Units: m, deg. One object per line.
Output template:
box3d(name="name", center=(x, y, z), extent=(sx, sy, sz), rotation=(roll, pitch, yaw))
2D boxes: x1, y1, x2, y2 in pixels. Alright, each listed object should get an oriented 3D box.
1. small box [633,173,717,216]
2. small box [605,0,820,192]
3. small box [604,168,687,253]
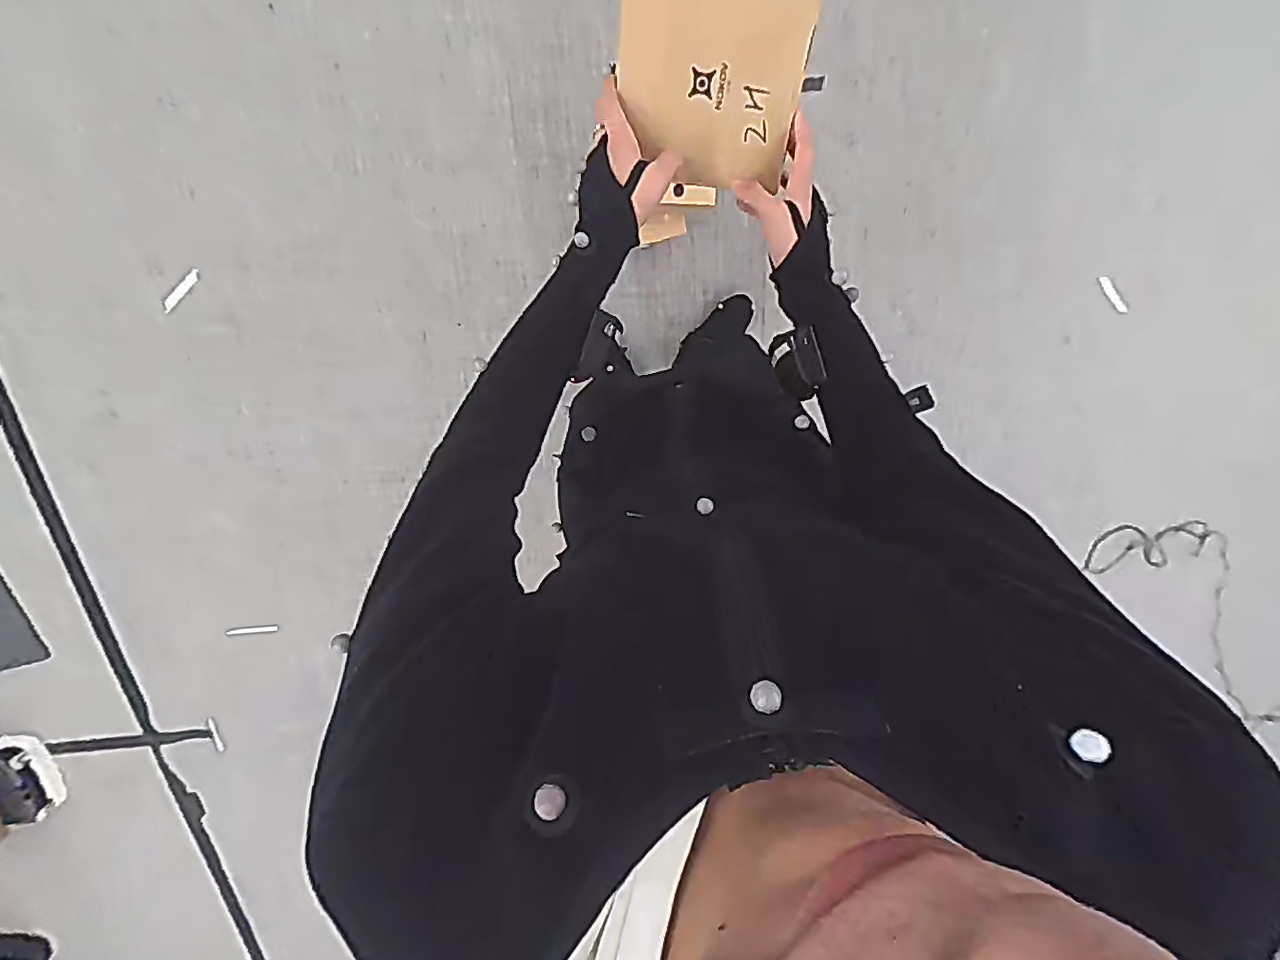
box3d(name="small box", center=(0.073, -0.682, 1.170), extent=(0.168, 0.176, 0.179), rotation=(0, 109, -5))
box3d(name="small box", center=(0.056, -0.406, 0.557), extent=(0.179, 0.176, 0.168), rotation=(3, 124, -7))
box3d(name="small box", center=(0.009, -0.676, 1.340), extent=(0.168, 0.176, 0.179), rotation=(-14, 110, 0))
